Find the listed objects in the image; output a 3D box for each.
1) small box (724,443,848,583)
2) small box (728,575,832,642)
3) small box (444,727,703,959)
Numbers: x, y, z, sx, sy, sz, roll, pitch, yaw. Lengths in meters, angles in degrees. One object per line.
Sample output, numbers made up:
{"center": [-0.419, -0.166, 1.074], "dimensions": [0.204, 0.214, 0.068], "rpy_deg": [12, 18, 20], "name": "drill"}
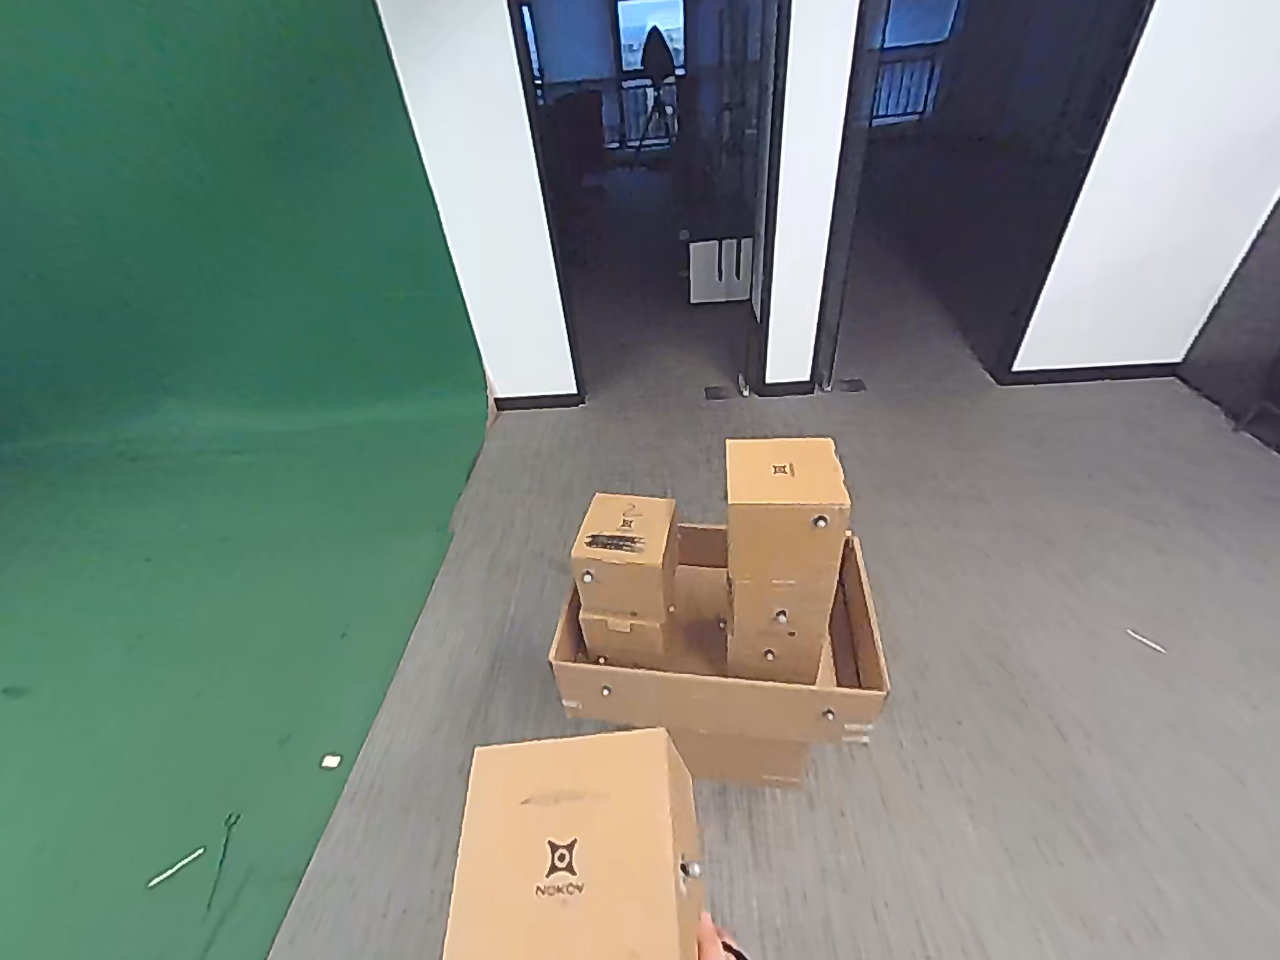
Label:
{"center": [0.228, 0.054, 0.891], "dimensions": [0.179, 0.176, 0.168], "rpy_deg": [0, 39, 8], "name": "small box"}
{"center": [0.247, 0.179, 0.995], "dimensions": [0.168, 0.176, 0.179], "rpy_deg": [0, 40, 7], "name": "small box"}
{"center": [-0.041, 0.330, 0.457], "dimensions": [0.168, 0.176, 0.179], "rpy_deg": [-8, 48, 7], "name": "small box"}
